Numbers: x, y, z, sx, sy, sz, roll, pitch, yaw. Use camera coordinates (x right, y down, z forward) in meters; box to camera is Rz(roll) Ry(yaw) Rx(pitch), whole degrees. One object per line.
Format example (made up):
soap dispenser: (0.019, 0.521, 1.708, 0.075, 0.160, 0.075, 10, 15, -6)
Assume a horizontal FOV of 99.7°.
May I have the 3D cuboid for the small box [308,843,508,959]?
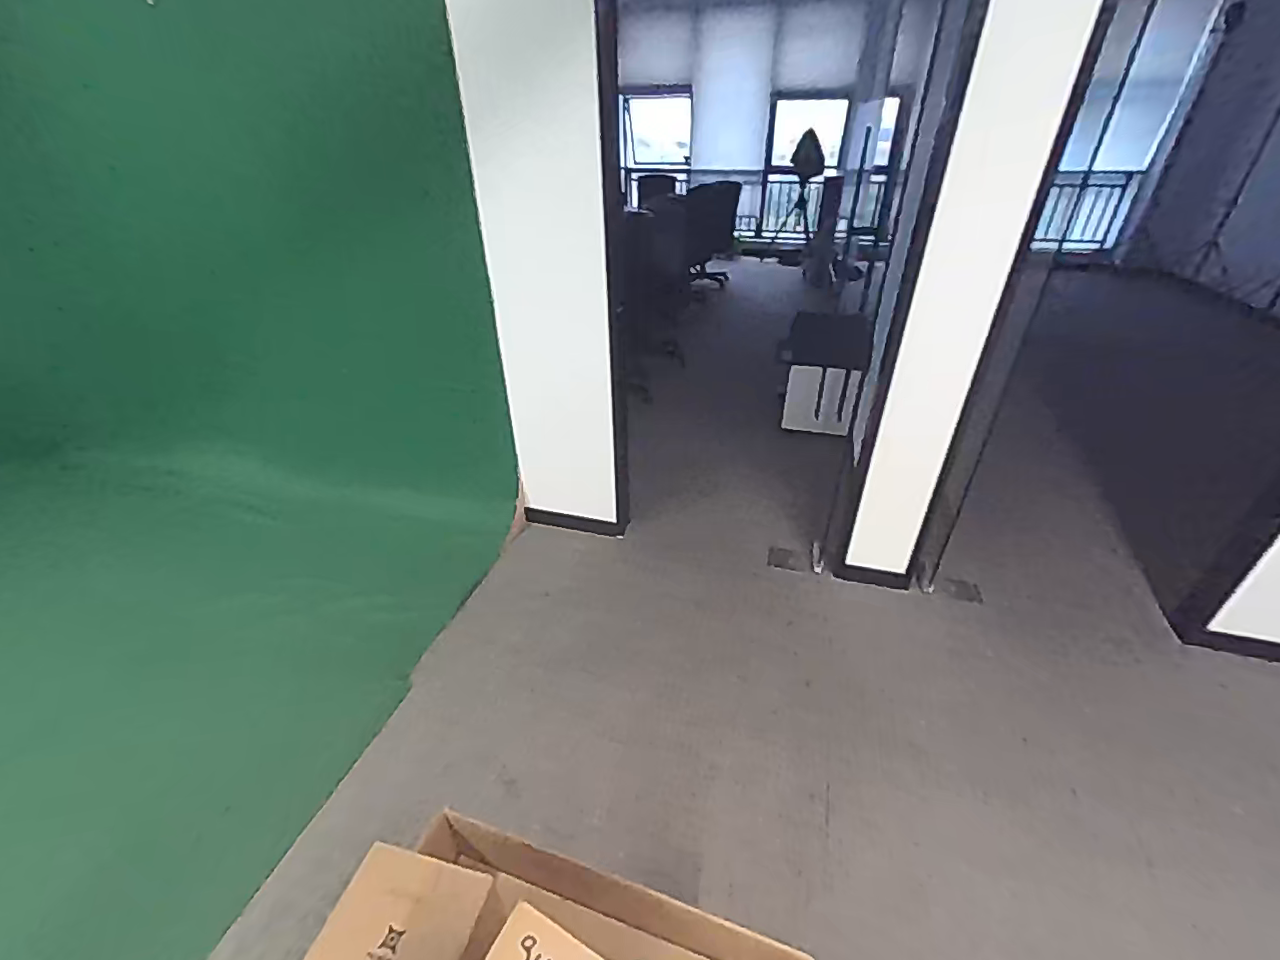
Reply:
small box: (-0.271, 0.581, 0.636, 0.168, 0.176, 0.179, 8, 33, 13)
